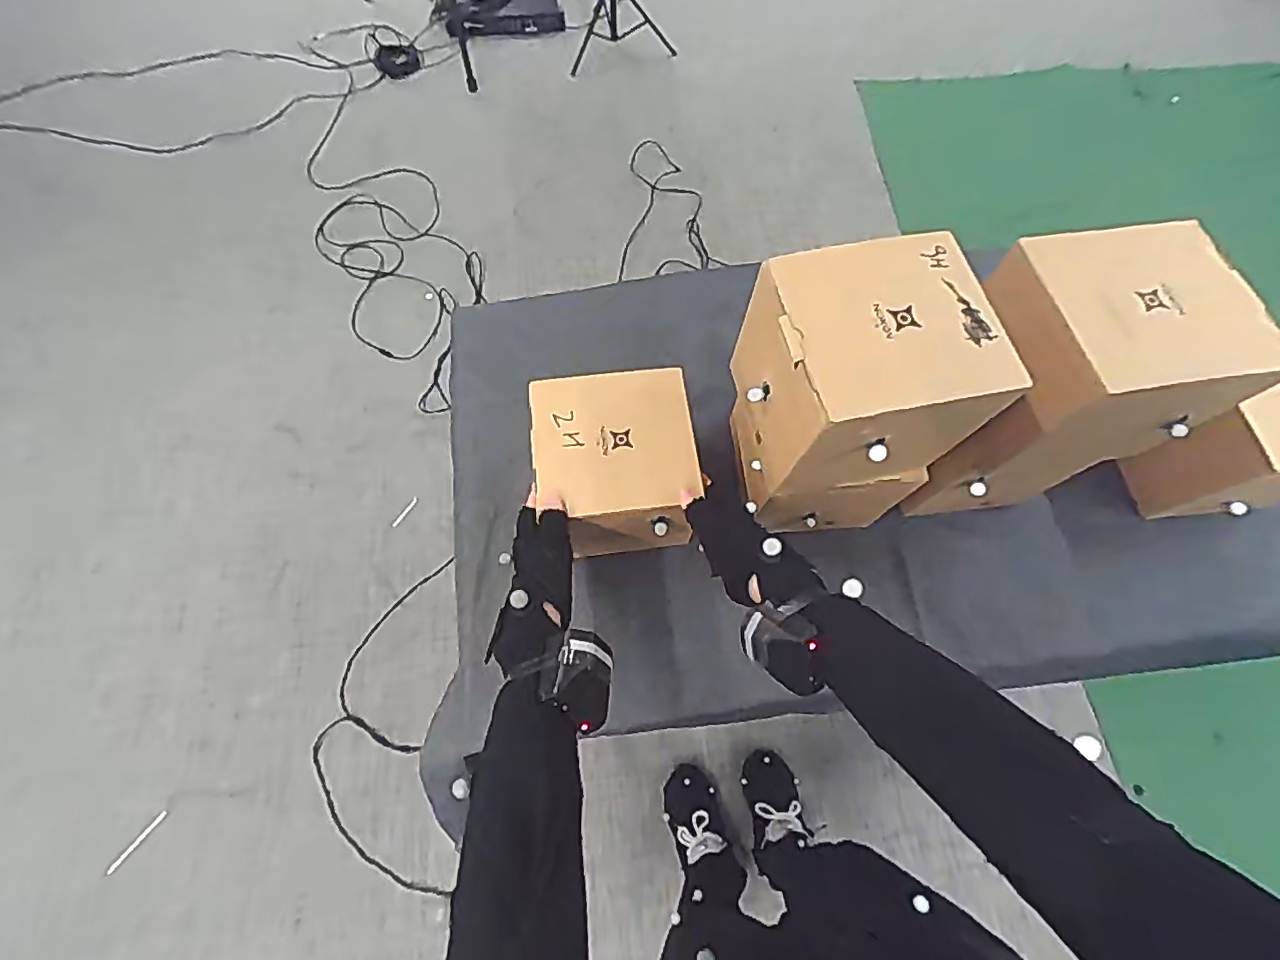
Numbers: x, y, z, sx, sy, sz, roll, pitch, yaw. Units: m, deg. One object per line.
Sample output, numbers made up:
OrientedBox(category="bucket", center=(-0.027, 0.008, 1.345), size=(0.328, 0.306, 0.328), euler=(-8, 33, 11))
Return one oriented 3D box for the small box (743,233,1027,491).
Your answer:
OrientedBox(category="small box", center=(0.206, -0.101, 0.522), size=(0.179, 0.176, 0.168), euler=(-11, 69, -4))
